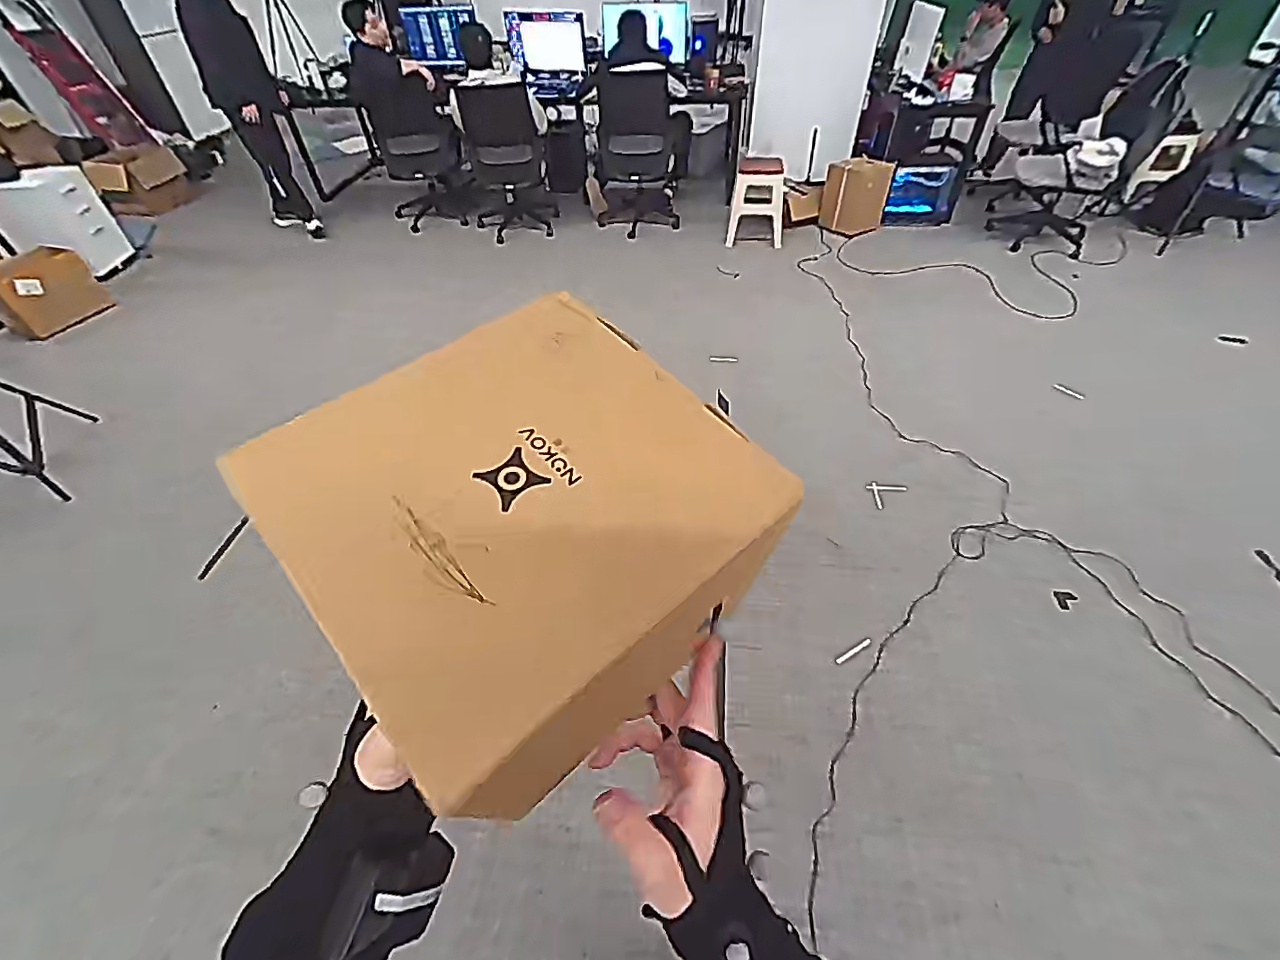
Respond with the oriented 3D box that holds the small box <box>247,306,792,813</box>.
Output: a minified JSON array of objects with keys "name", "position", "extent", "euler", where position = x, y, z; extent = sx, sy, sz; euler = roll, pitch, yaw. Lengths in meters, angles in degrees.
[{"name":"small box","position":[-0.052,0.047,0.300],"extent":[0.168,0.176,0.179],"euler":[41,65,20]}]
